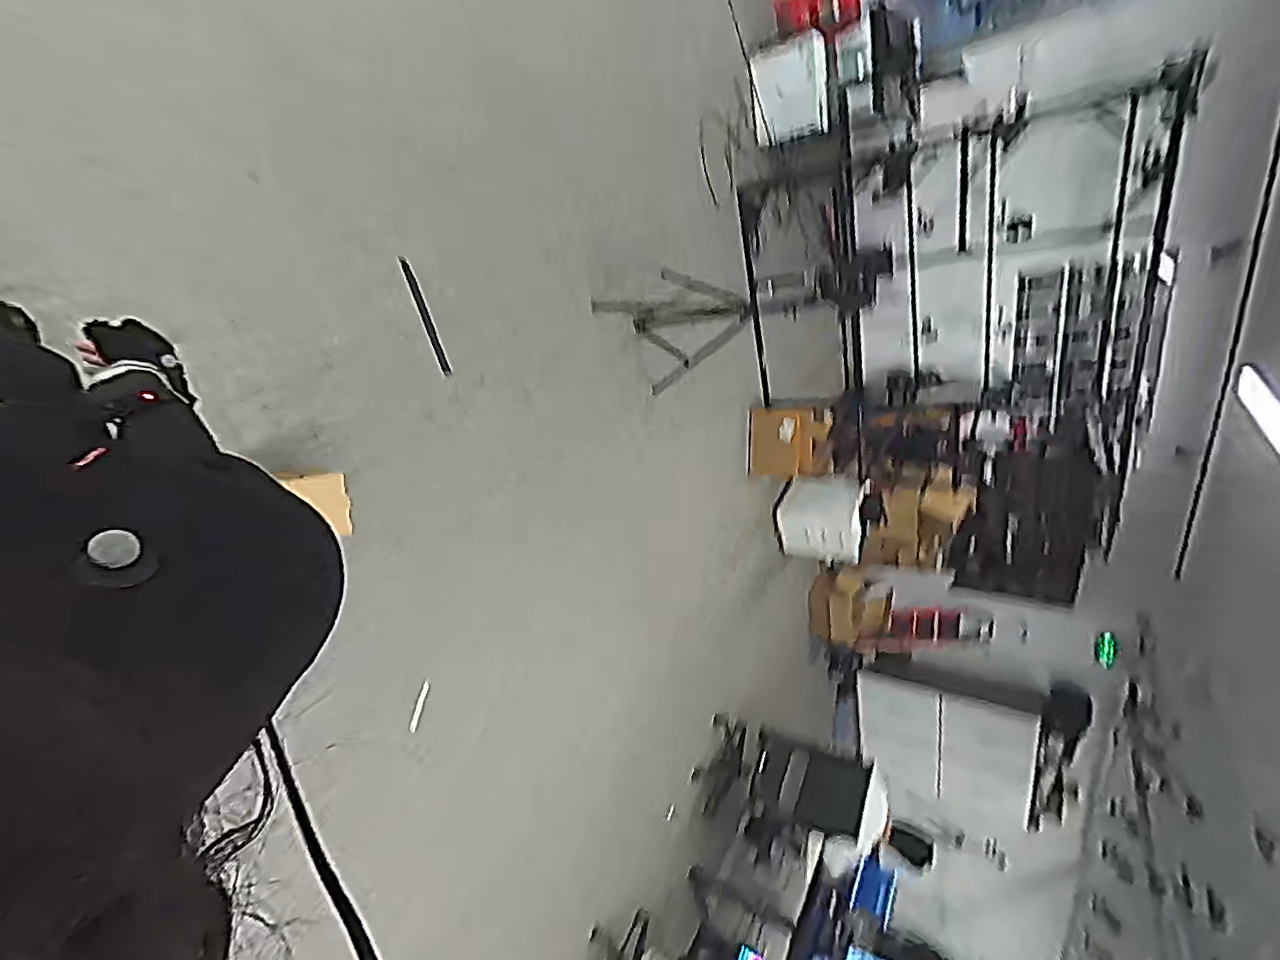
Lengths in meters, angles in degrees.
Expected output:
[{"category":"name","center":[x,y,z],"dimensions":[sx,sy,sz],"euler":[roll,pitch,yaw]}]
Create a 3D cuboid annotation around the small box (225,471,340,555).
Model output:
[{"category":"small box","center":[-0.887,0.075,1.346],"dimensions":[0.179,0.176,0.168],"euler":[-19,109,-54]}]
